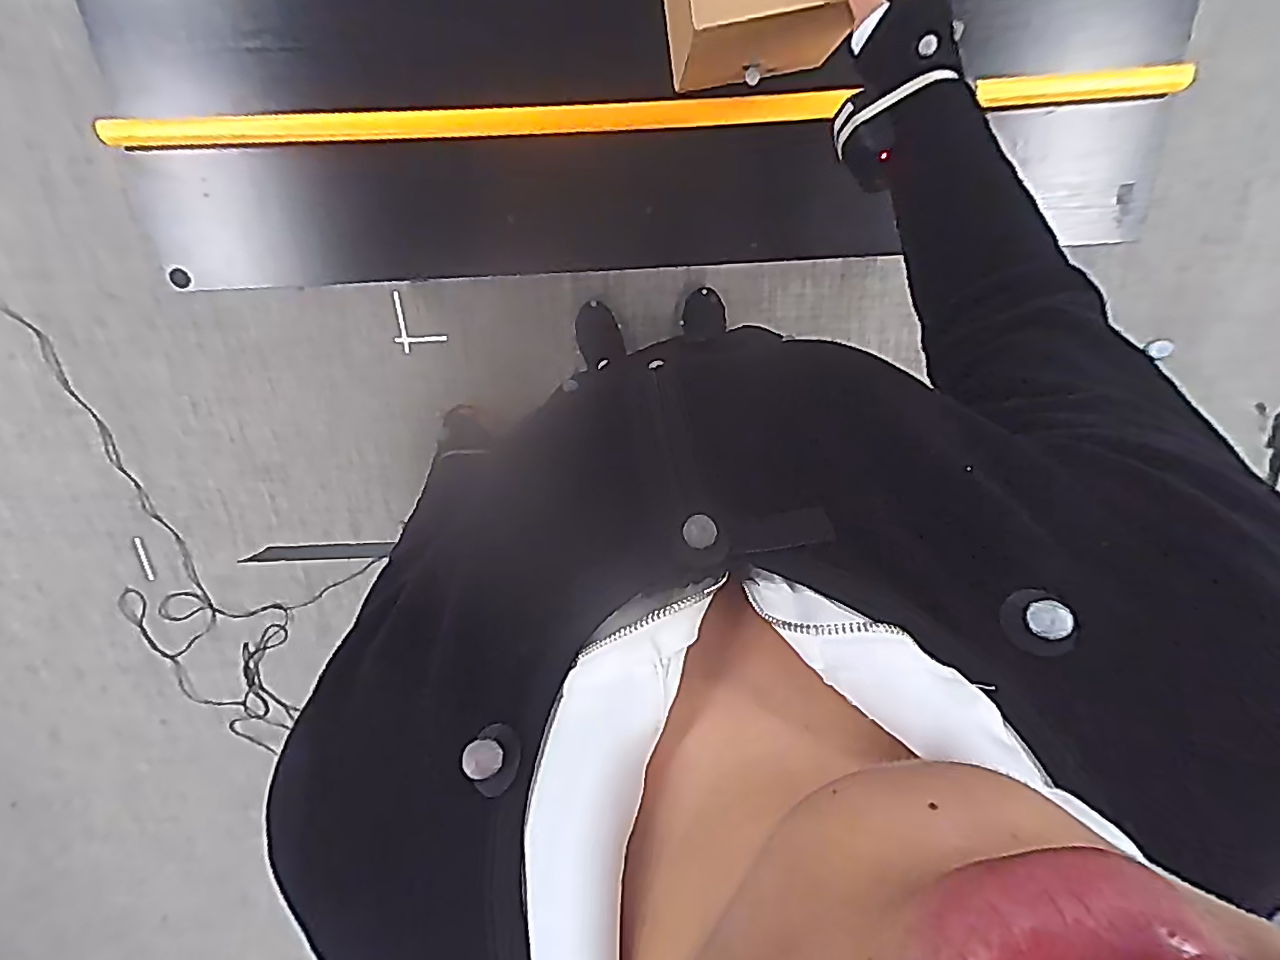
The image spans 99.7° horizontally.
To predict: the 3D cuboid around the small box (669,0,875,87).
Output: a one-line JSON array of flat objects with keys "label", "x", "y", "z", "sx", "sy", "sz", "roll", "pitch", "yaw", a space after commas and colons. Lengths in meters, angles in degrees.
[{"label": "small box", "x": 0.112, "y": -0.508, "z": 0.505, "sx": 0.168, "sy": 0.176, "sz": 0.179, "roll": -9, "pitch": 110, "yaw": 2}]
